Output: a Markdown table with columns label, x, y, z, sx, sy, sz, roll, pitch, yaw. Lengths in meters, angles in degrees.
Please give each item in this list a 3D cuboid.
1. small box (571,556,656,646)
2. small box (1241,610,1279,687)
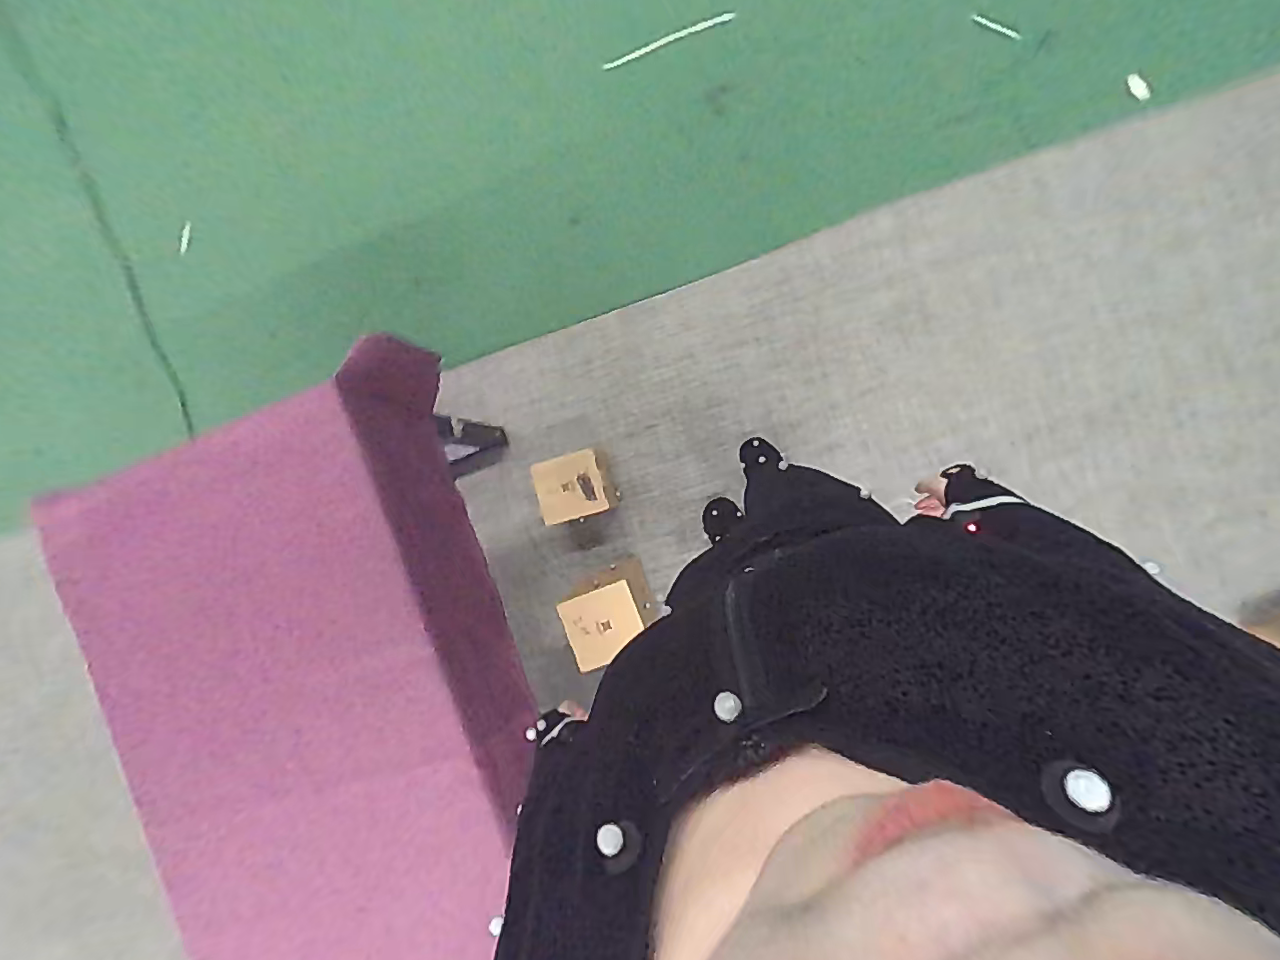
| label | x | y | z | sx | sy | sz | roll | pitch | yaw |
| --- | --- | --- | --- | --- | --- | --- | --- | --- | --- |
| small box | -0.065 | 0.320 | 1.462 | 0.168 | 0.176 | 0.179 | -20 | 88 | 7 |
| small box | 1.564 | 0.397 | 1.240 | 0.168 | 0.176 | 0.179 | -22 | 89 | 8 |
